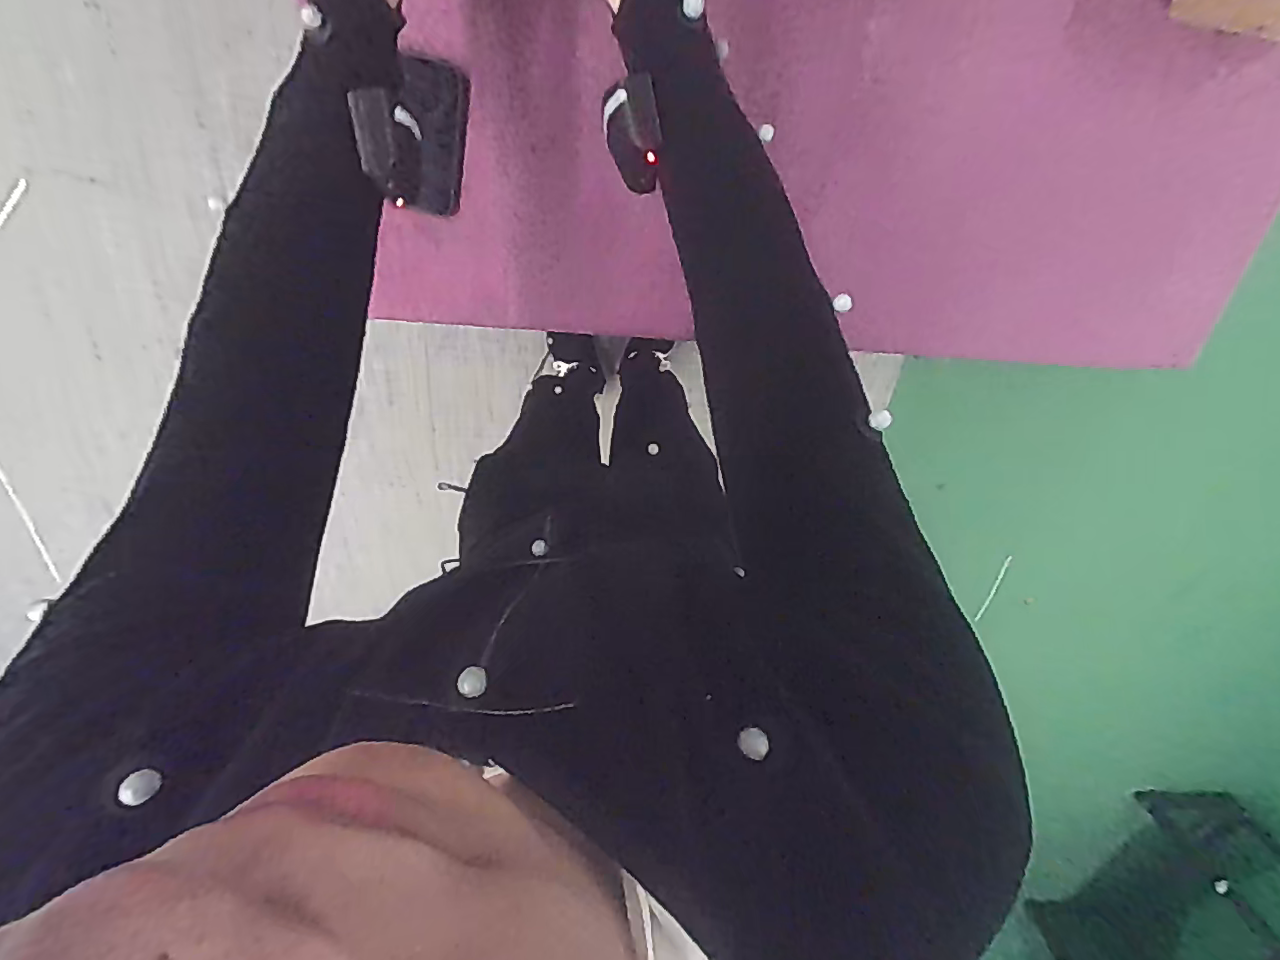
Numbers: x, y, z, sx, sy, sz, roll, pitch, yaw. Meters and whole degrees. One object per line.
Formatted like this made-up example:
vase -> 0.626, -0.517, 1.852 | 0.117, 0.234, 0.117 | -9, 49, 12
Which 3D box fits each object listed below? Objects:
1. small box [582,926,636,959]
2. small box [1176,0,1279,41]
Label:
small box -> -0.104, 1.610, 1.781 | 0.168, 0.176, 0.179 | 5, 118, -9
small box -> 0.683, -0.553, 0.507 | 0.168, 0.176, 0.179 | 5, 118, -7
